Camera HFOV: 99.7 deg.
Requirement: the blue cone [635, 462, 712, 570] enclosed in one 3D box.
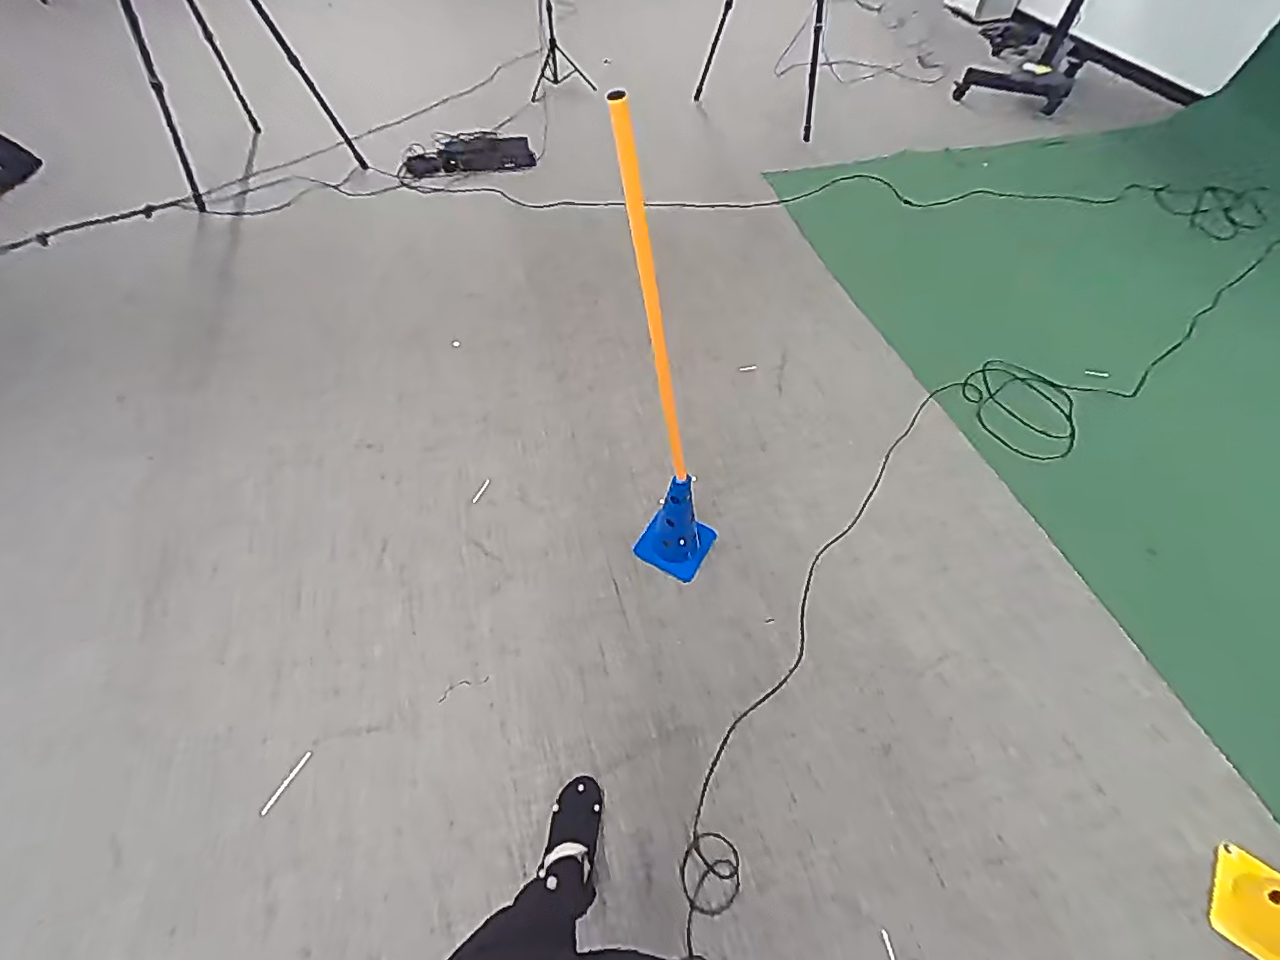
[{"bbox_3d":[0.096,0.079,1.481,0.193,0.380,0.192,24,60,17],"label":"blue cone"}]
